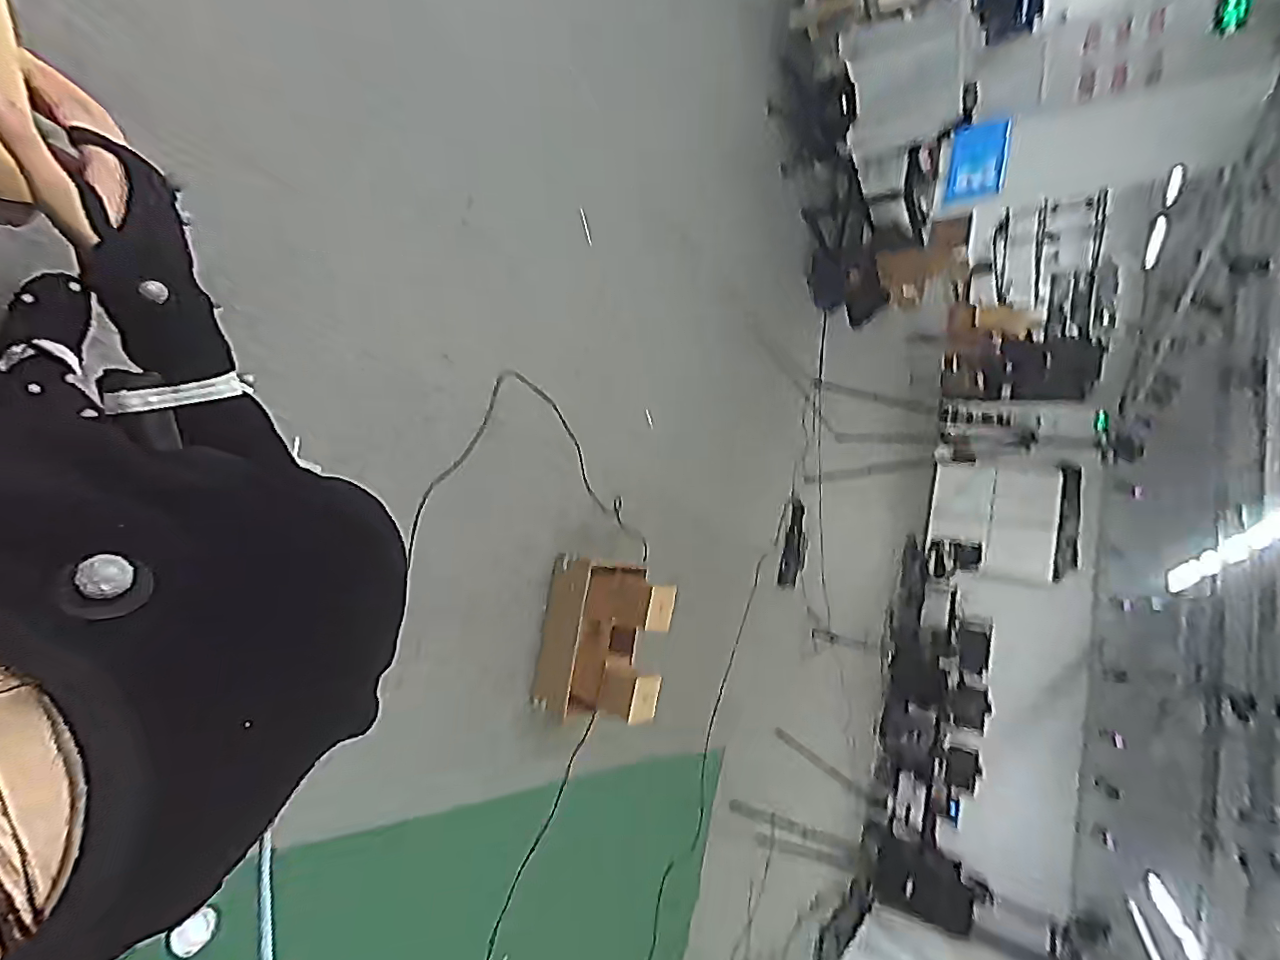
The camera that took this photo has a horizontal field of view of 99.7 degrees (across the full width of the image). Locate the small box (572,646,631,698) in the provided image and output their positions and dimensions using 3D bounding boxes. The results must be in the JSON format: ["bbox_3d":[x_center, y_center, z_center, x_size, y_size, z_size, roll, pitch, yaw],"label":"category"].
[{"bbox_3d":[-0.161,0.796,2.258,0.168,0.176,0.179,20,78,-52],"label":"small box"}]

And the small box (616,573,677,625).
[{"bbox_3d":[0.023,0.479,2.190,0.168,0.176,0.179,20,79,-50],"label":"small box"}]

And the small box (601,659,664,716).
[{"bbox_3d":[-0.034,0.823,2.155,0.179,0.176,0.168,20,79,-52],"label":"small box"}]
